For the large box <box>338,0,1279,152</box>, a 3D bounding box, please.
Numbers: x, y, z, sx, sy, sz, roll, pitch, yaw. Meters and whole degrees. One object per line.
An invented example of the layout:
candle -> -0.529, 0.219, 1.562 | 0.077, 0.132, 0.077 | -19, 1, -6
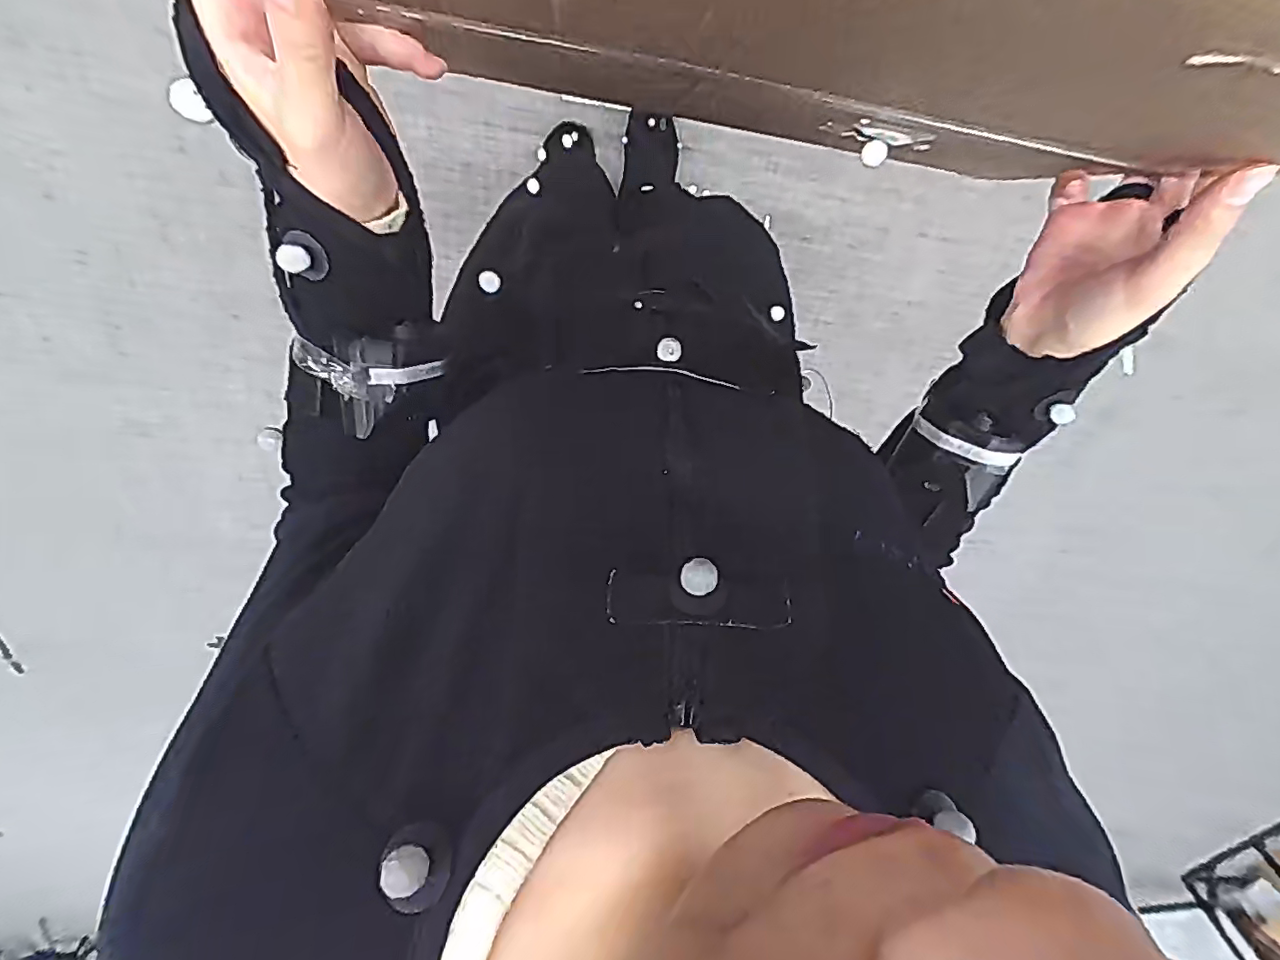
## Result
large box -> 0.083, -0.308, 0.147 | 0.408, 0.320, 0.320 | 5, 119, -8
